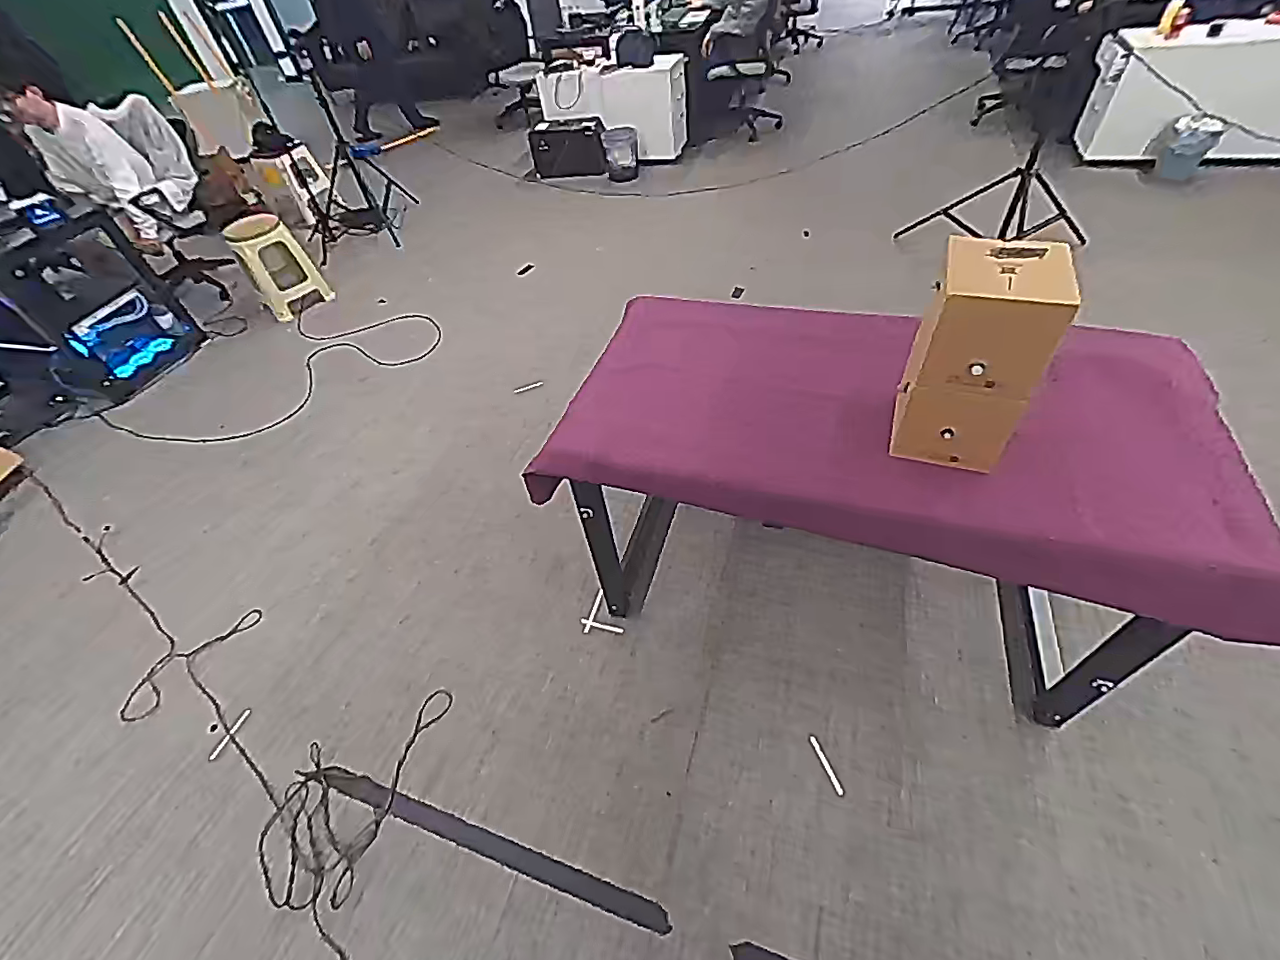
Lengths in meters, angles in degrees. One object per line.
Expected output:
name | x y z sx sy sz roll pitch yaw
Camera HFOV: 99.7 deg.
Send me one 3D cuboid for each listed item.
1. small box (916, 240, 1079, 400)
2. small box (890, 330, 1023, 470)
small box | 0.548 -0.253 0.852 0.168 0.176 0.179 12 52 18
small box | 0.560 -0.142 0.973 0.168 0.176 0.179 13 51 18
